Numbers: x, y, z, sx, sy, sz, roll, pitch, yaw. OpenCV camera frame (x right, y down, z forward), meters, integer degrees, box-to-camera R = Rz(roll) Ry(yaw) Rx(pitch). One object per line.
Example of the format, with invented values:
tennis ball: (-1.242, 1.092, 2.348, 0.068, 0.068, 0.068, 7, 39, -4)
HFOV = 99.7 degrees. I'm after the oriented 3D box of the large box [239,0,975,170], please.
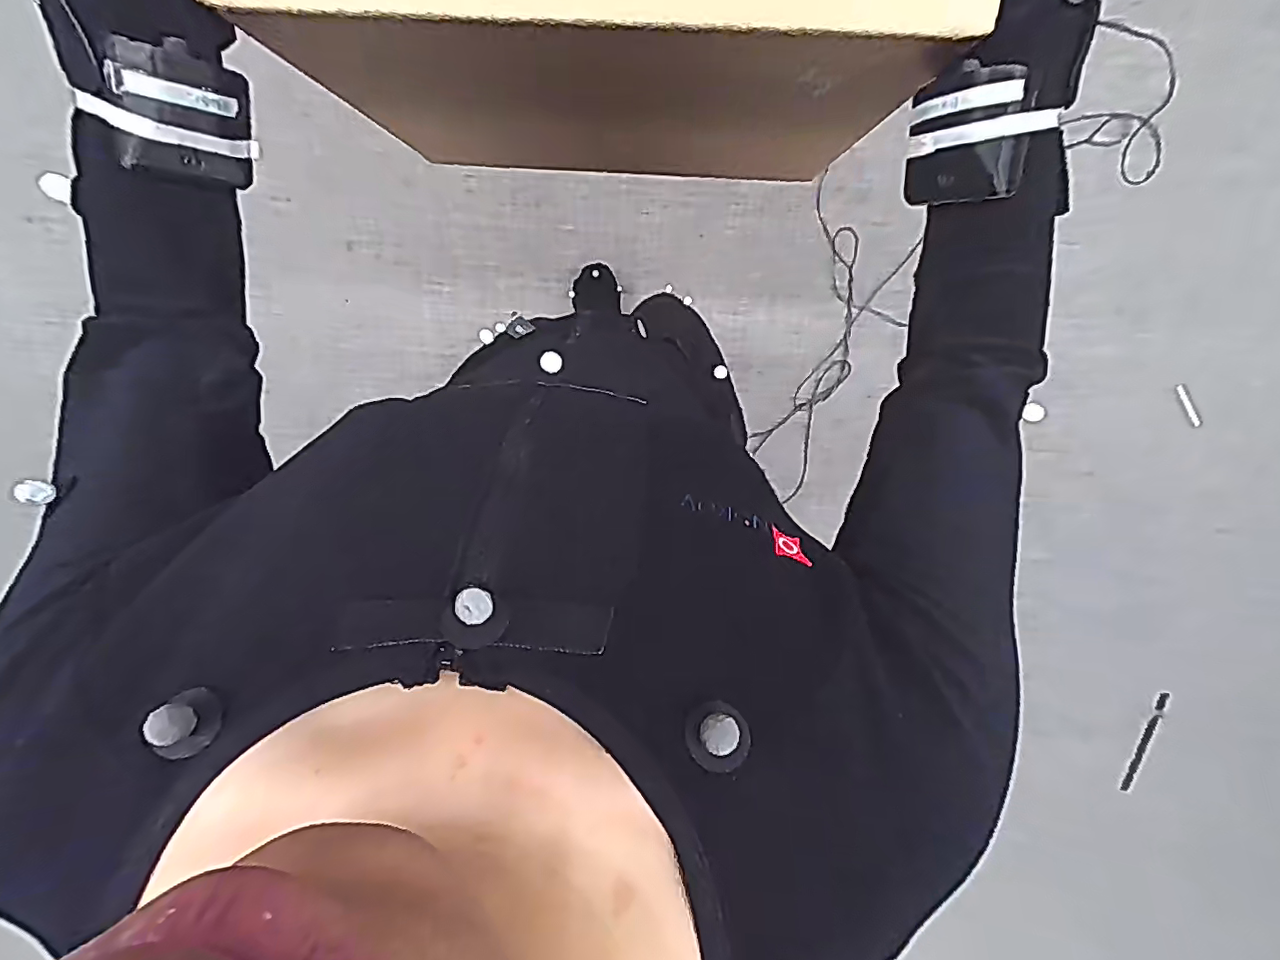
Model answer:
large box: (-0.017, -0.435, 0.387, 0.408, 0.320, 0.320, 2, 107, 0)
